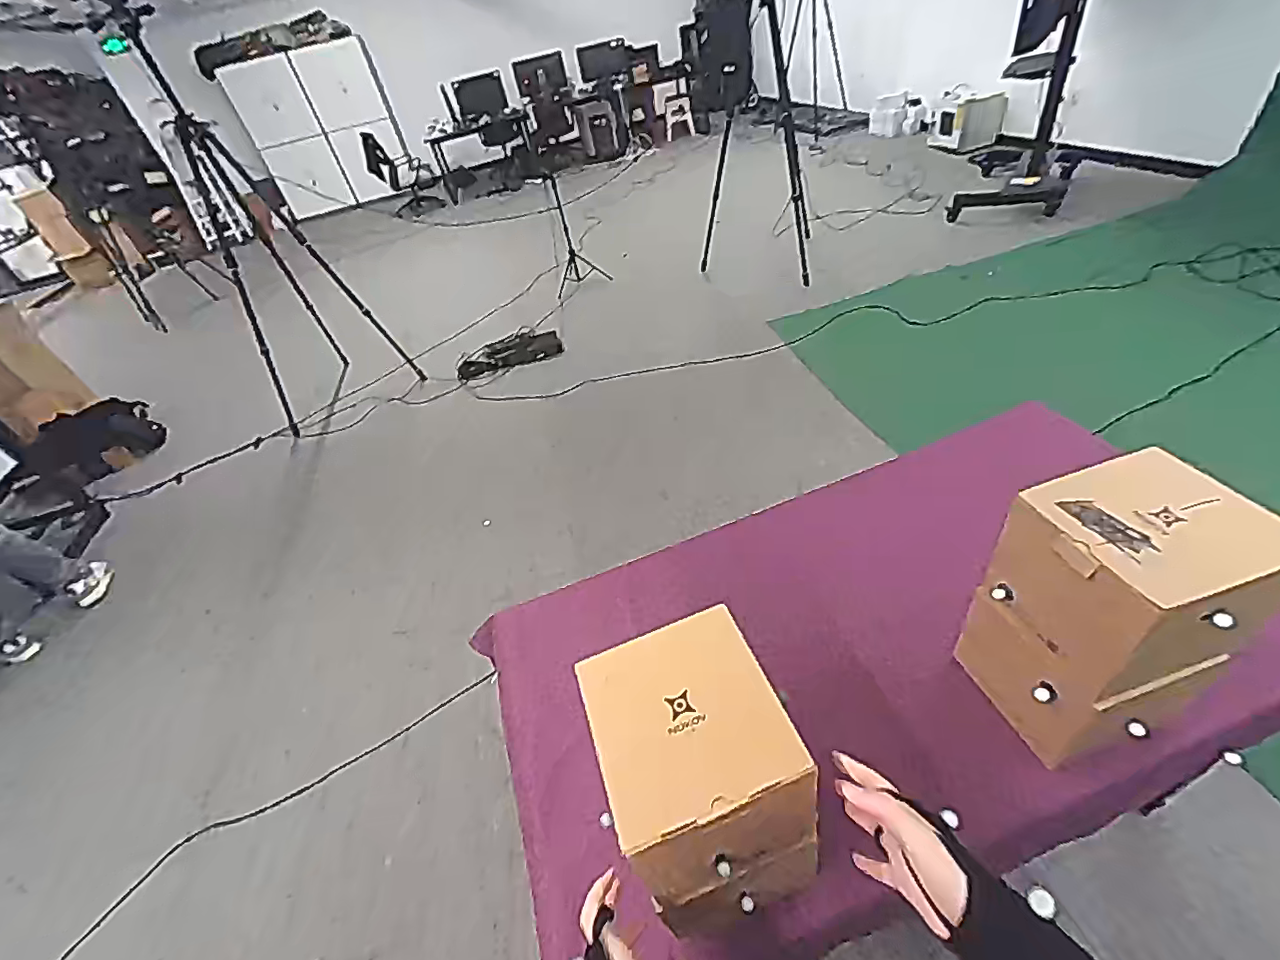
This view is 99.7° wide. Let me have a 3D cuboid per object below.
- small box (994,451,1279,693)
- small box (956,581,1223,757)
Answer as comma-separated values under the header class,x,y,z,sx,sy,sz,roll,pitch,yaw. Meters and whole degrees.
class,x,y,z,sx,sy,sz,roll,pitch,yaw
small box,0.522,0.101,0.585,0.179,0.176,0.168,-17,41,-5
small box,0.546,0.226,0.690,0.168,0.176,0.179,-18,41,-5
